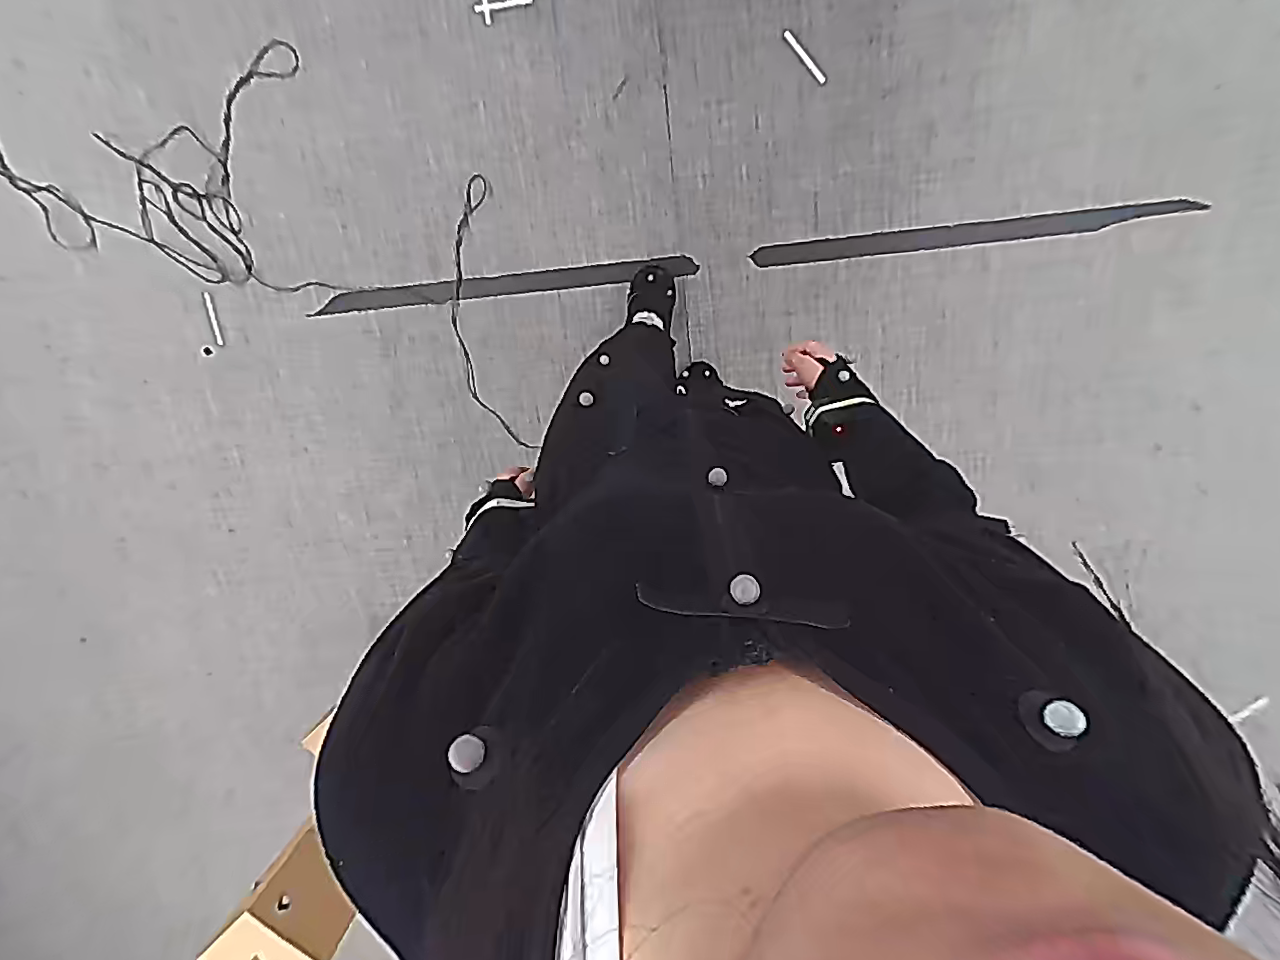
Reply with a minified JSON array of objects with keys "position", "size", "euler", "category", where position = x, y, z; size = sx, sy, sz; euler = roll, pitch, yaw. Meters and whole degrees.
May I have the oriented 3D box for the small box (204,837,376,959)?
[{"position":[-0.654,0.826,1.029],"size":[0.179,0.176,0.168],"euler":[43,103,-7],"category":"small box"}]
